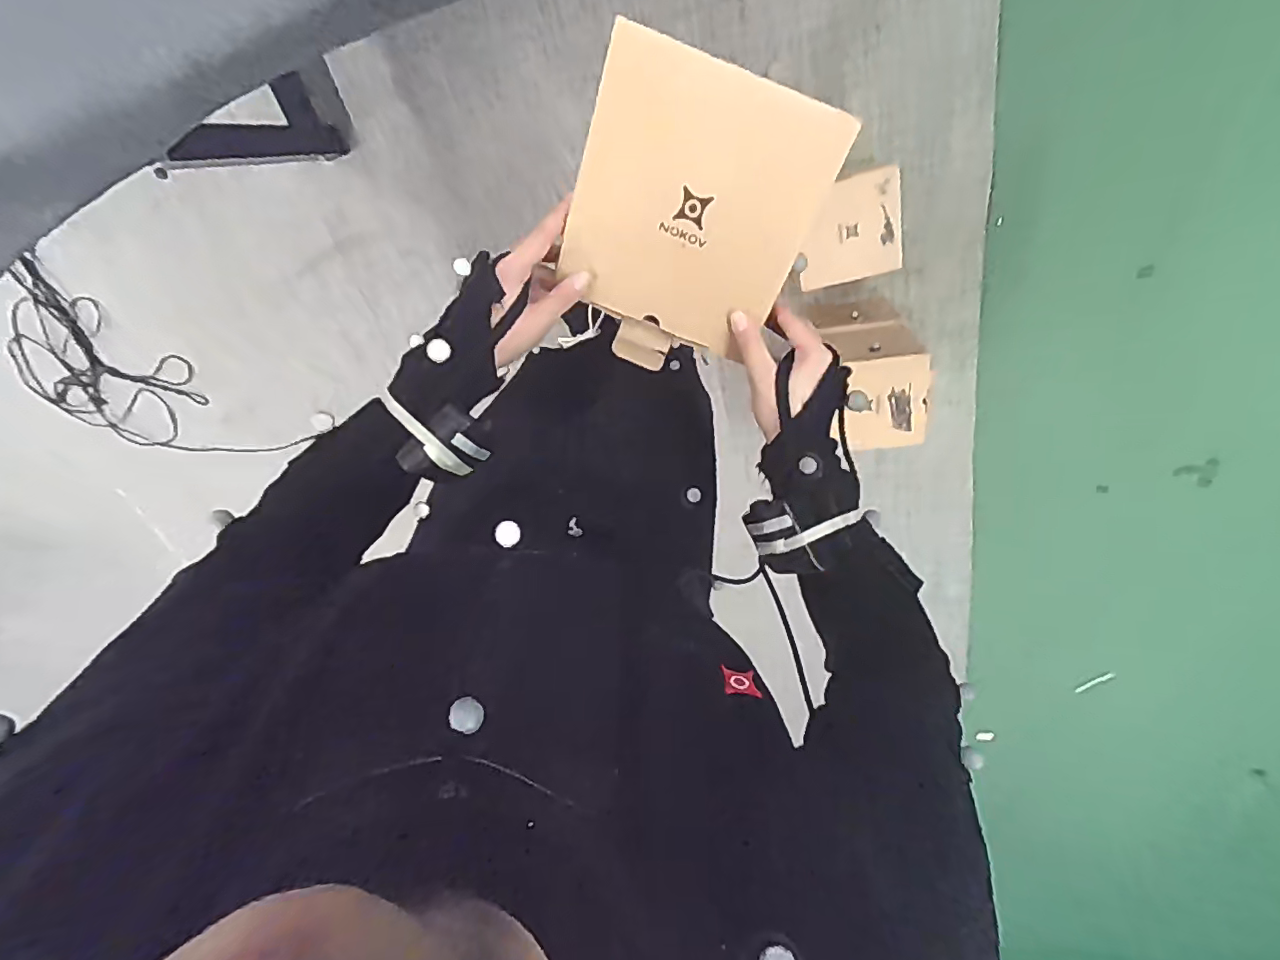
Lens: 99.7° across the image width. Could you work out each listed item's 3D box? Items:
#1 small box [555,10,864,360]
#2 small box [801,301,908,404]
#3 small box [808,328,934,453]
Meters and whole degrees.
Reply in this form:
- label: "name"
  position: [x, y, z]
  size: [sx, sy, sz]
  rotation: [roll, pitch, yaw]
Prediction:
- label: "small box"
  position: [0.047, -0.232, 0.440]
  size: [0.168, 0.176, 0.179]
  rotation: [20, 125, -4]
- label: "small box"
  position: [0.429, -0.256, 1.105]
  size: [0.179, 0.176, 0.168]
  rotation: [-4, 120, 14]
- label: "small box"
  position: [0.403, -0.165, 0.971]
  size: [0.179, 0.176, 0.168]
  rotation: [-4, 119, 14]
